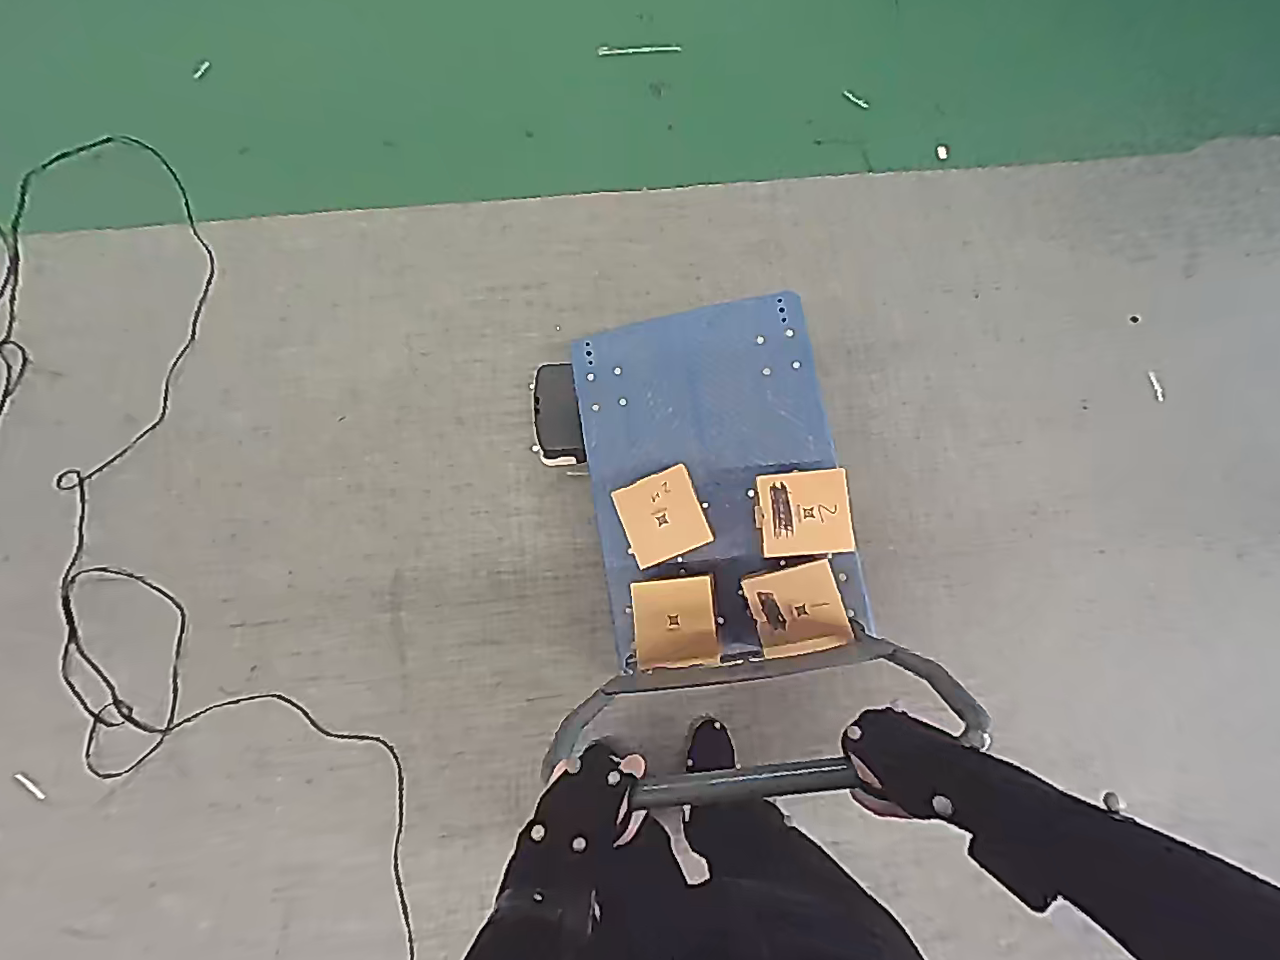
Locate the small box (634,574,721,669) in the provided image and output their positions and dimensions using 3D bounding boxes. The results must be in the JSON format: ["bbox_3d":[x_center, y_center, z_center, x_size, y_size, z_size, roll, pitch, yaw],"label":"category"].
[{"bbox_3d":[0.084,0.297,1.165,0.168,0.176,0.179,-6,83,9],"label":"small box"}]

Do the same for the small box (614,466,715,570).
[{"bbox_3d":[0.061,0.086,1.192,0.168,0.176,0.179,-22,80,6],"label":"small box"}]
